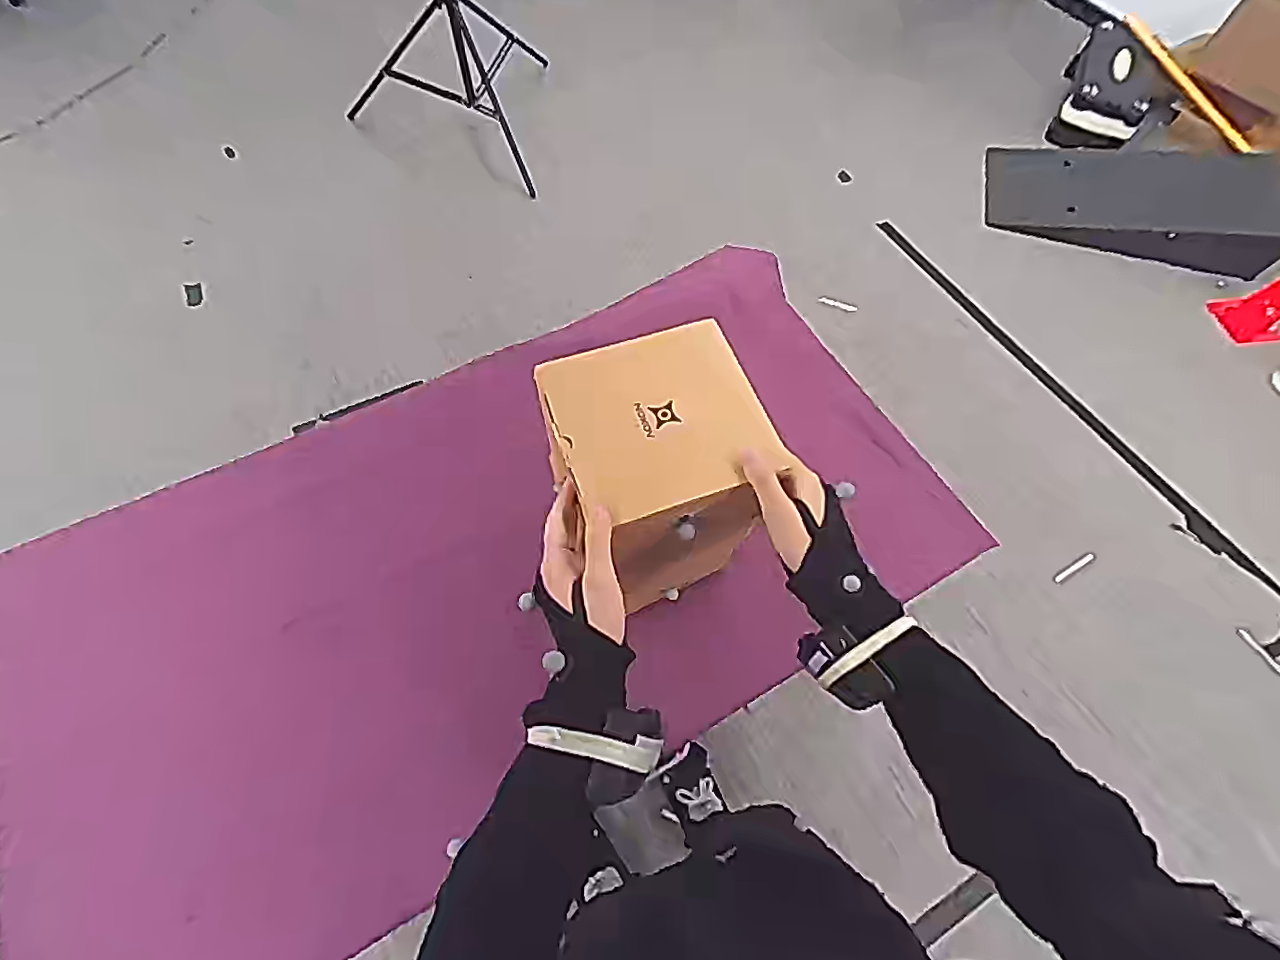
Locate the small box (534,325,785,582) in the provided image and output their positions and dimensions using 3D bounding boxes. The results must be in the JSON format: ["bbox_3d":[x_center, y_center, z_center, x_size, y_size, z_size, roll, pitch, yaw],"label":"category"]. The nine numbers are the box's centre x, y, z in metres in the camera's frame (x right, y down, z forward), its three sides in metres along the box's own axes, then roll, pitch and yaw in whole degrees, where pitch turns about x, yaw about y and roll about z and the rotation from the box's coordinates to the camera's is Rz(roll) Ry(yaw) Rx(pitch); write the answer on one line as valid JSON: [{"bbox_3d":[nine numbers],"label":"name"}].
[{"bbox_3d":[0.010,-0.017,0.530,0.179,0.176,0.168,-18,68,-10],"label":"small box"}]

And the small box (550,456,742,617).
[{"bbox_3d":[0.000,0.048,0.679,0.168,0.176,0.179,-23,68,-12],"label":"small box"}]
